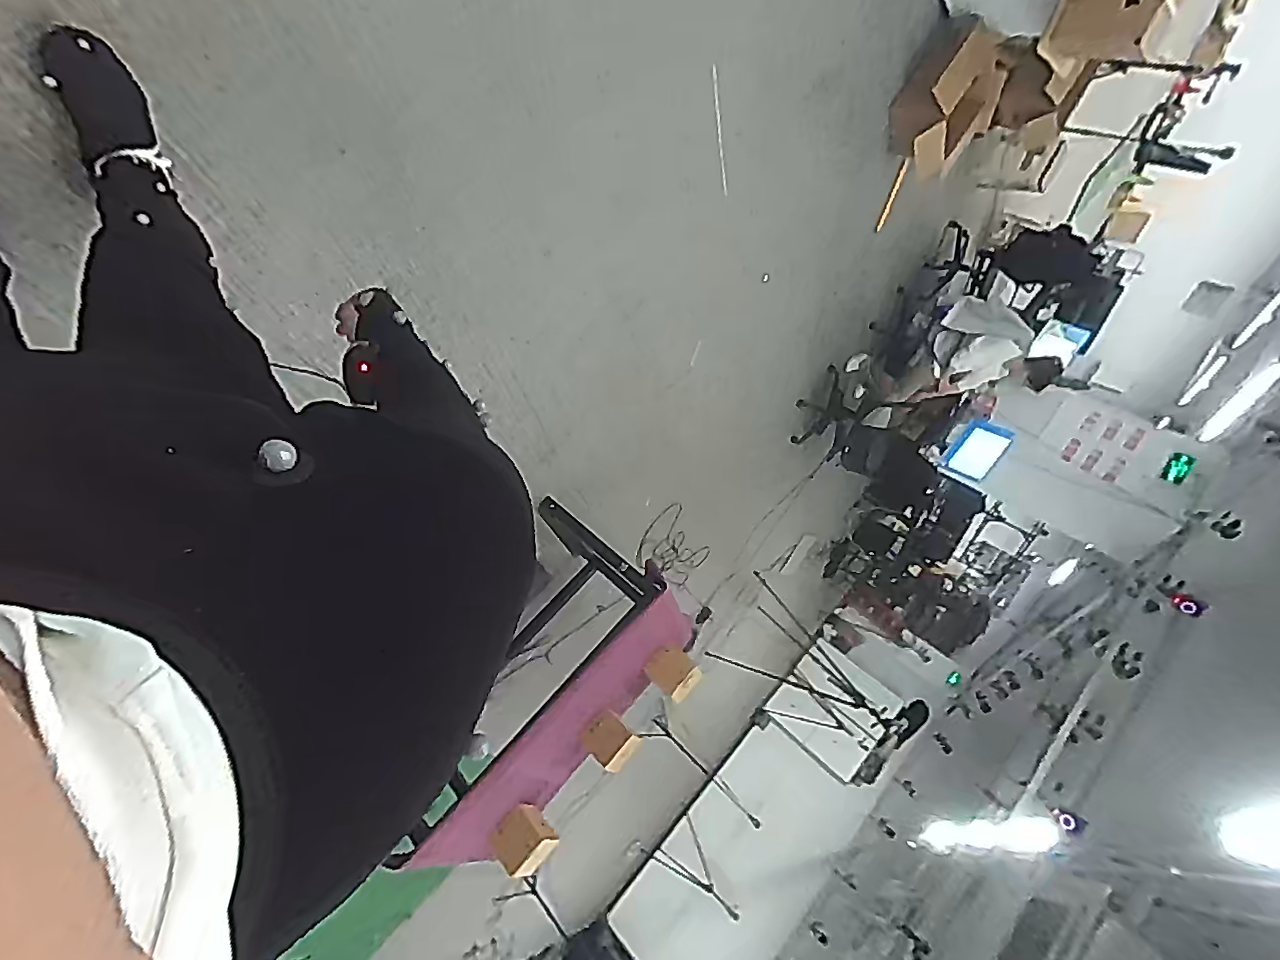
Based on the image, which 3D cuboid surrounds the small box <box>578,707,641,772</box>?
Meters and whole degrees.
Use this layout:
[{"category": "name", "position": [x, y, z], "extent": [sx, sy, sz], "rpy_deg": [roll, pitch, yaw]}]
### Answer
[{"category": "small box", "position": [-0.123, 1.053, 2.201], "extent": [0.168, 0.176, 0.179], "rpy_deg": [-45, 147, -16]}]

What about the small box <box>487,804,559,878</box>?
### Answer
[{"category": "small box", "position": [-0.446, 1.370, 2.063], "extent": [0.168, 0.176, 0.179], "rpy_deg": [-46, 149, -15]}]

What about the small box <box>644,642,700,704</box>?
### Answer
[{"category": "small box", "position": [0.137, 0.825, 2.326], "extent": [0.168, 0.176, 0.179], "rpy_deg": [-43, 146, -17]}]
